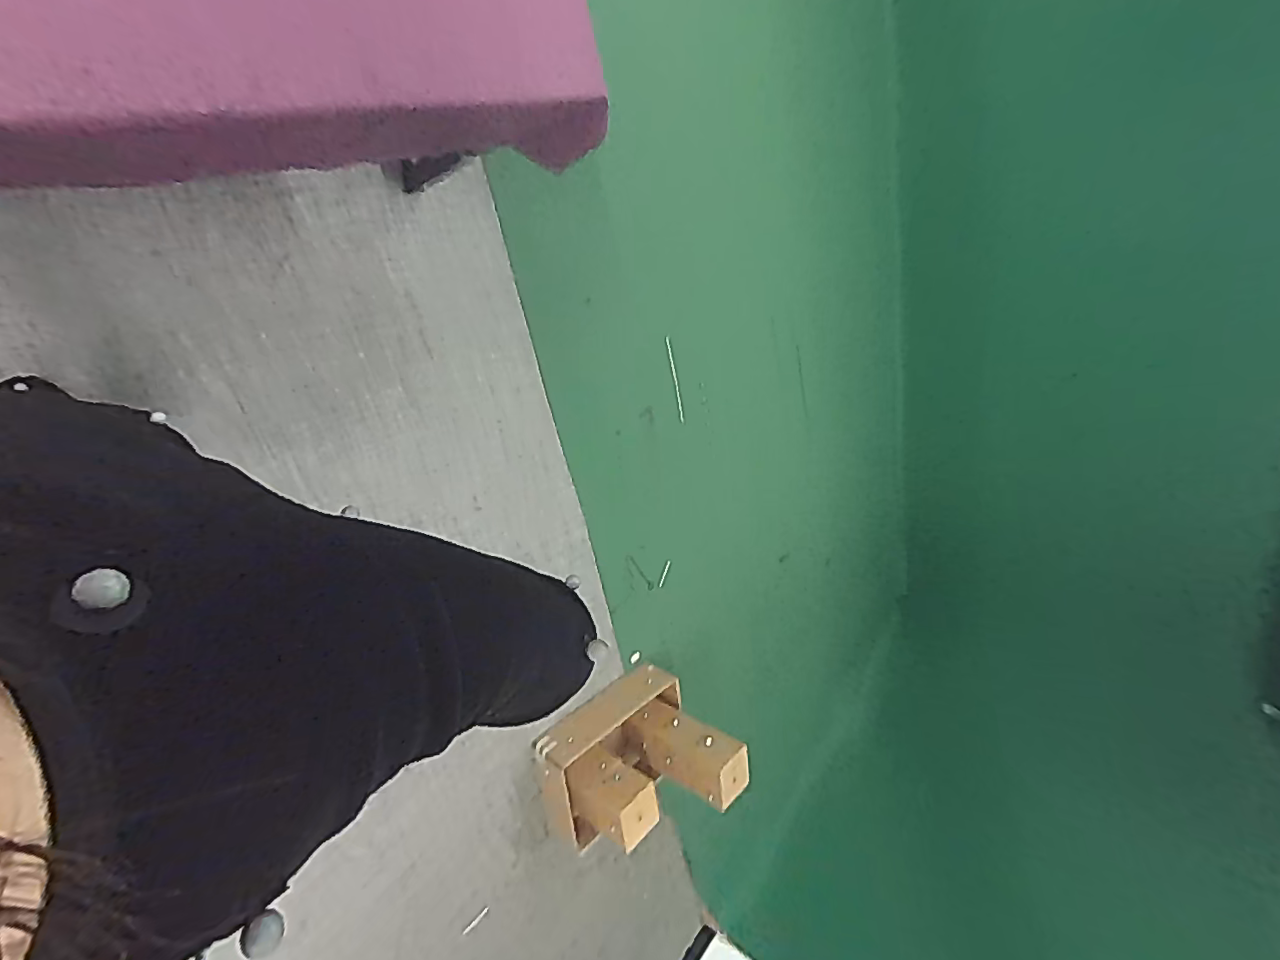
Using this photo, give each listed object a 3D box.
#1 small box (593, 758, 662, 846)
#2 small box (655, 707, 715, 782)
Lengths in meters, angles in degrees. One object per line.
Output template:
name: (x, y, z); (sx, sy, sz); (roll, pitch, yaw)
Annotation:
small box: (-0.045, 1.134, 1.921); (0.168, 0.176, 0.179); (-24, 111, -42)
small box: (0.178, 1.038, 2.137); (0.168, 0.176, 0.179); (-17, 107, -42)
